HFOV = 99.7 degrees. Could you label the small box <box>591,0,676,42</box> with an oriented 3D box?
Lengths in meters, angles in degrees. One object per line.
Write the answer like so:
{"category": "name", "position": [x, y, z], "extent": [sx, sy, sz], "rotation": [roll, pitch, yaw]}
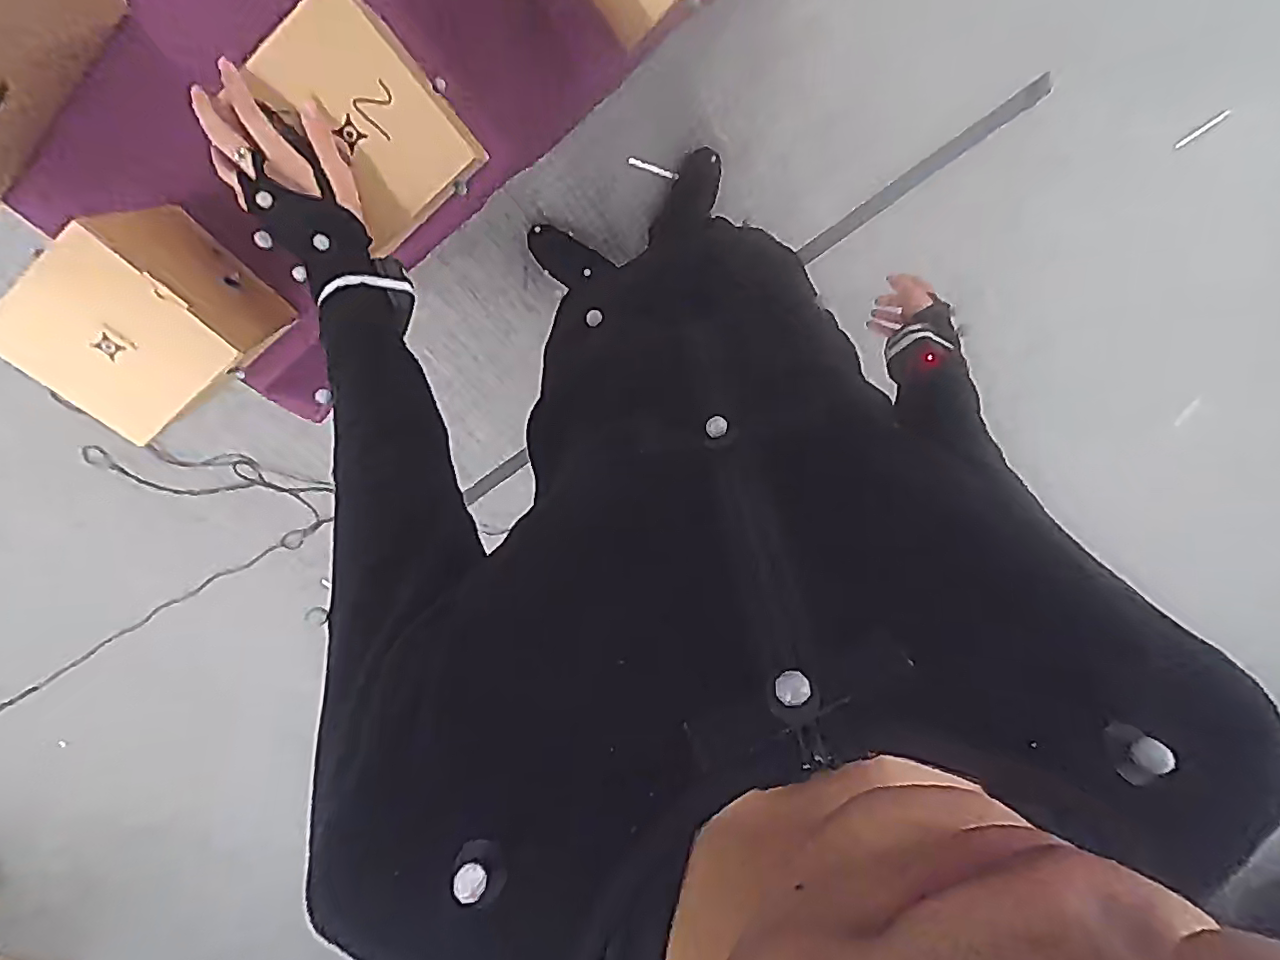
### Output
{"category": "small box", "position": [0.001, -0.557, 0.498], "extent": [0.168, 0.176, 0.179], "rotation": [-39, 120, 13]}

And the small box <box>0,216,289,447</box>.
{"category": "small box", "position": [-0.553, -0.175, 0.622], "extent": [0.179, 0.176, 0.168], "rotation": [-37, 120, 10]}
